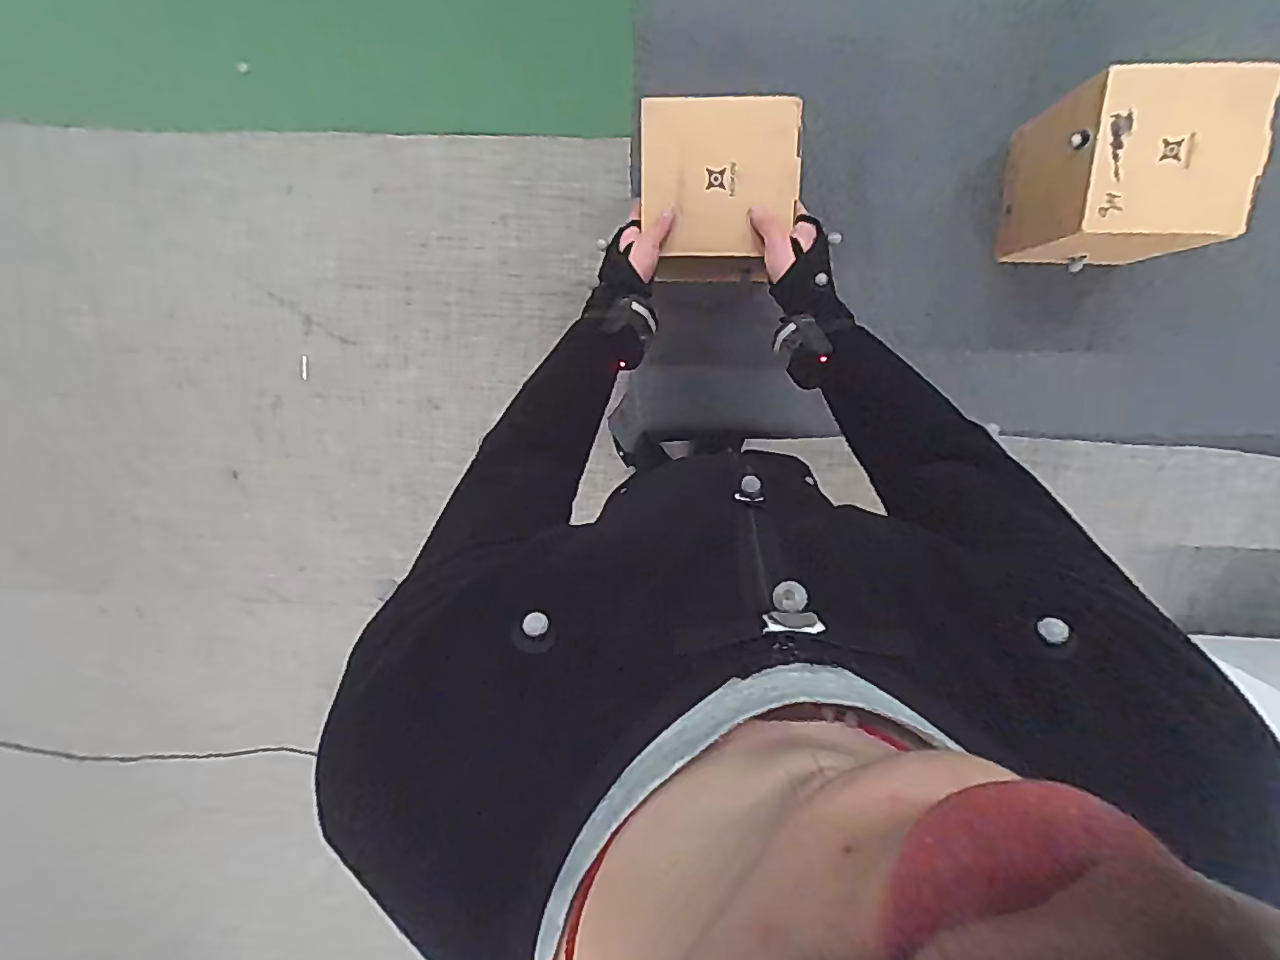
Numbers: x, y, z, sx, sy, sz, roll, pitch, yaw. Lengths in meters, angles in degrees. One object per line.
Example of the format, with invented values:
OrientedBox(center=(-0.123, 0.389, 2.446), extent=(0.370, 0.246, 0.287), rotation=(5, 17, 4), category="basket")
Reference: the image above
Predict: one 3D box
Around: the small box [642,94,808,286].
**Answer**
OrientedBox(center=(0.092, -0.338, 0.661), extent=(0.179, 0.176, 0.168), rotation=(-1, 100, 1), category="small box")

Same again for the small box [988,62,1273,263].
OrientedBox(center=(0.572, -0.368, 0.658), extent=(0.179, 0.176, 0.168), rotation=(1, 101, -1), category="small box")
